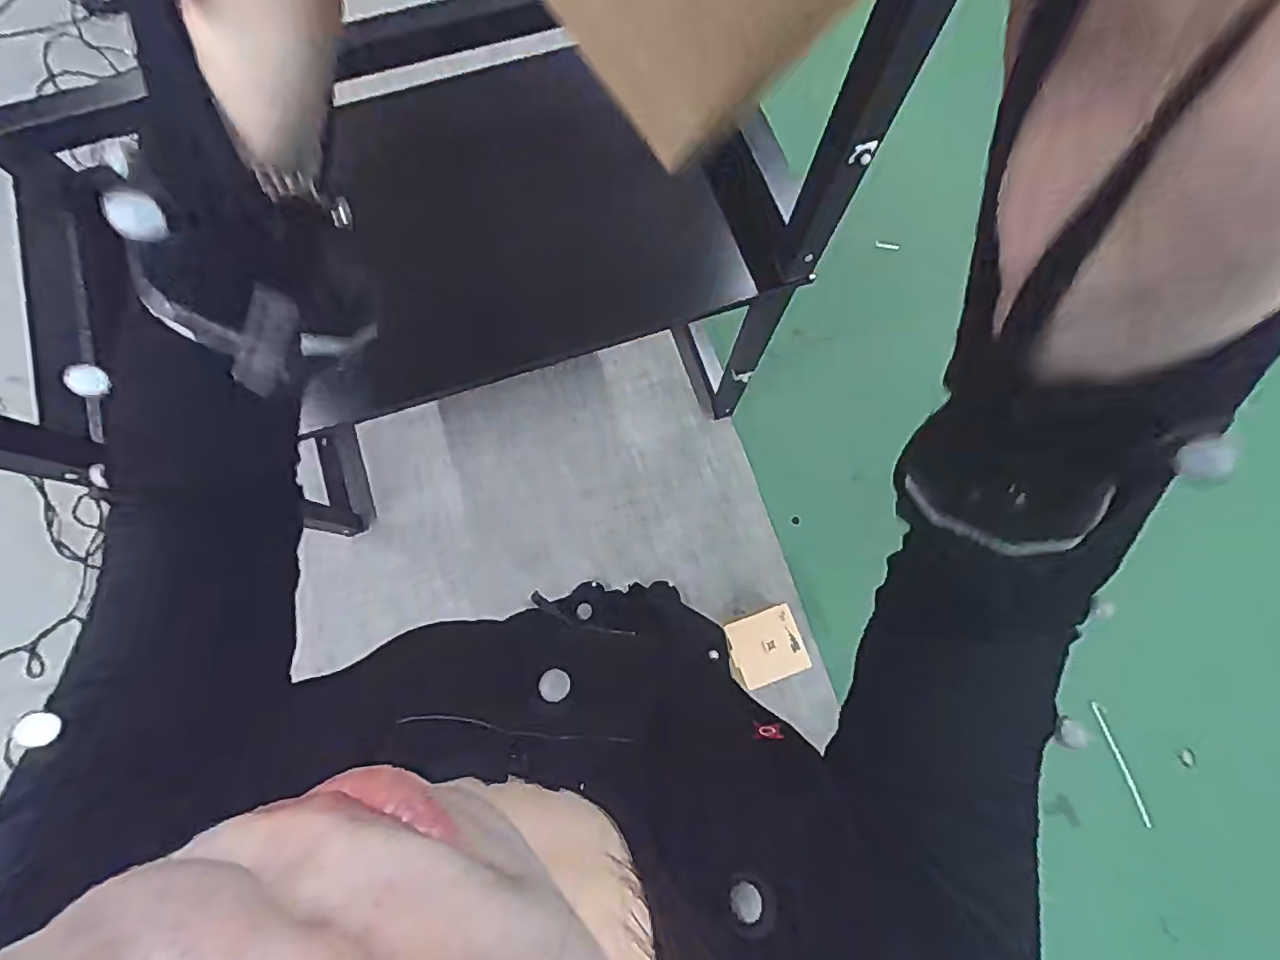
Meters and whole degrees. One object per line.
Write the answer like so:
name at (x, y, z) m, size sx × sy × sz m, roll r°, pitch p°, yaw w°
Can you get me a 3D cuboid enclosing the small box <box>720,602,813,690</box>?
small box at (0.316, 0.423, 1.399) m, size 0.179 × 0.176 × 0.168 m, roll -19°, pitch 78°, yaw -4°
